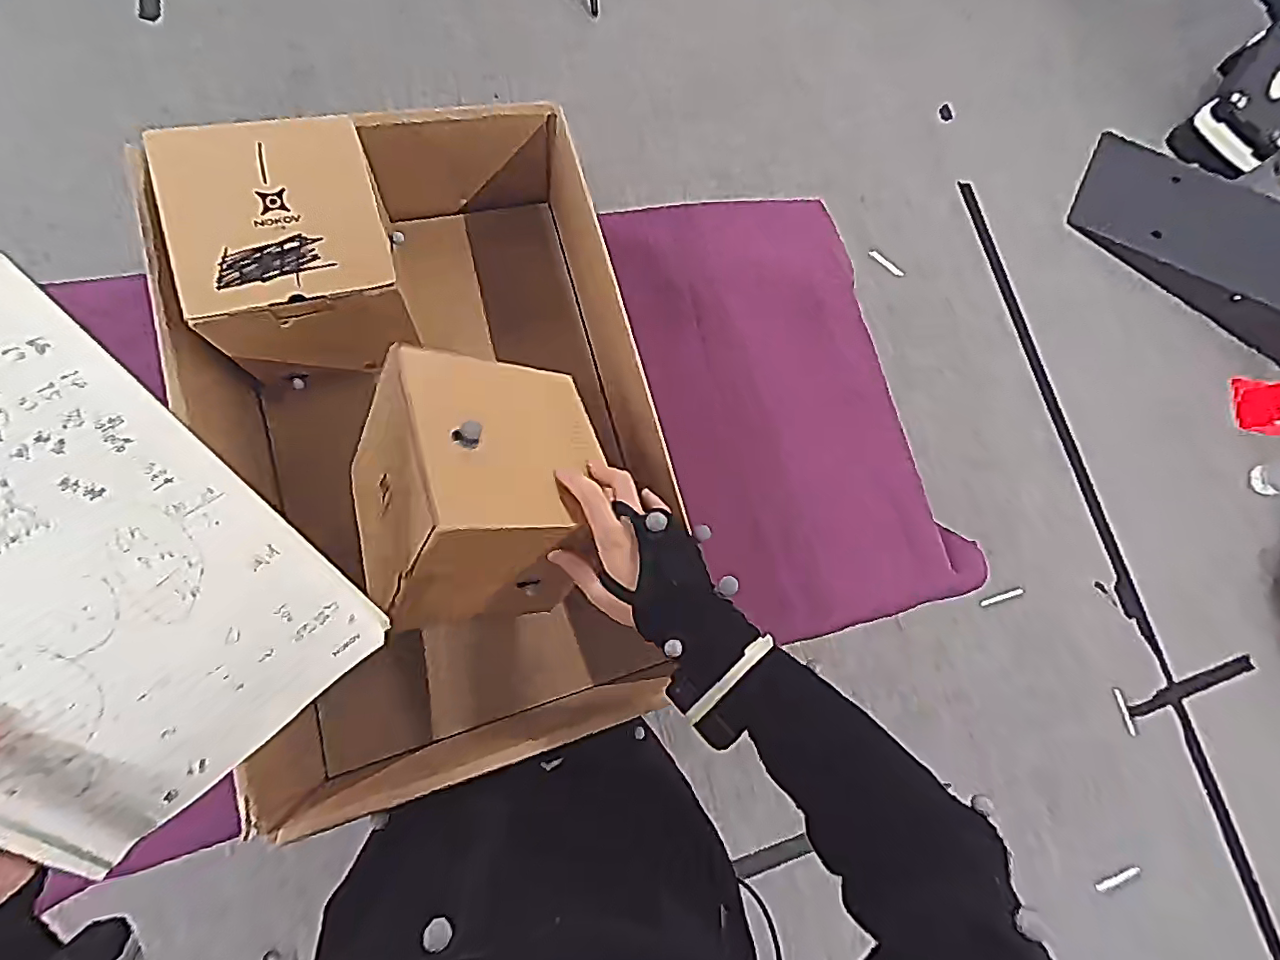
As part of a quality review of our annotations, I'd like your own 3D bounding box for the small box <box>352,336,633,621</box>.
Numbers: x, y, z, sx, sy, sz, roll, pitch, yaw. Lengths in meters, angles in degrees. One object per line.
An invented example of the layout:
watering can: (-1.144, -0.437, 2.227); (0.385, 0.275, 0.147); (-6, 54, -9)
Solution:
small box: (-0.136, 0.007, 0.484); (0.176, 0.168, 0.179); (5, 52, -43)
